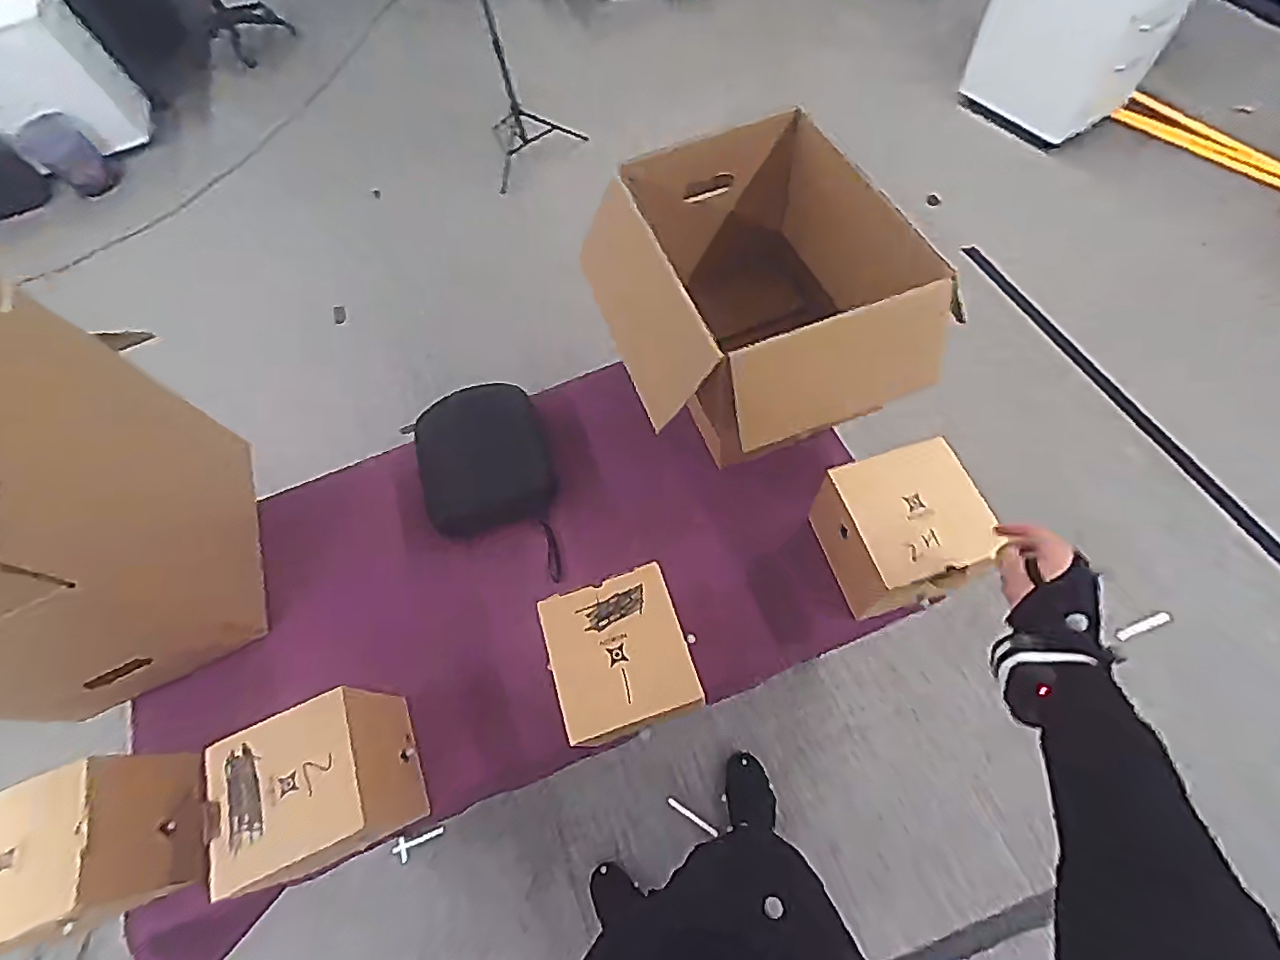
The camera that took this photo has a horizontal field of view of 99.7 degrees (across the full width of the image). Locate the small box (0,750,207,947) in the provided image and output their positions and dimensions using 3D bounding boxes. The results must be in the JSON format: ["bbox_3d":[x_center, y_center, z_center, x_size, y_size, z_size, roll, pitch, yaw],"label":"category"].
[{"bbox_3d":[-0.716,0.471,0.701,0.179,0.176,0.168,-22,63,-5],"label":"small box"}]

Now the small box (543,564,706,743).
[{"bbox_3d":[-0.017,0.240,0.729,0.168,0.176,0.179,-19,63,-2],"label":"small box"}]

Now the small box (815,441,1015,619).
[{"bbox_3d":[0.364,0.076,0.760,0.168,0.176,0.179,-16,63,0],"label":"small box"}]
